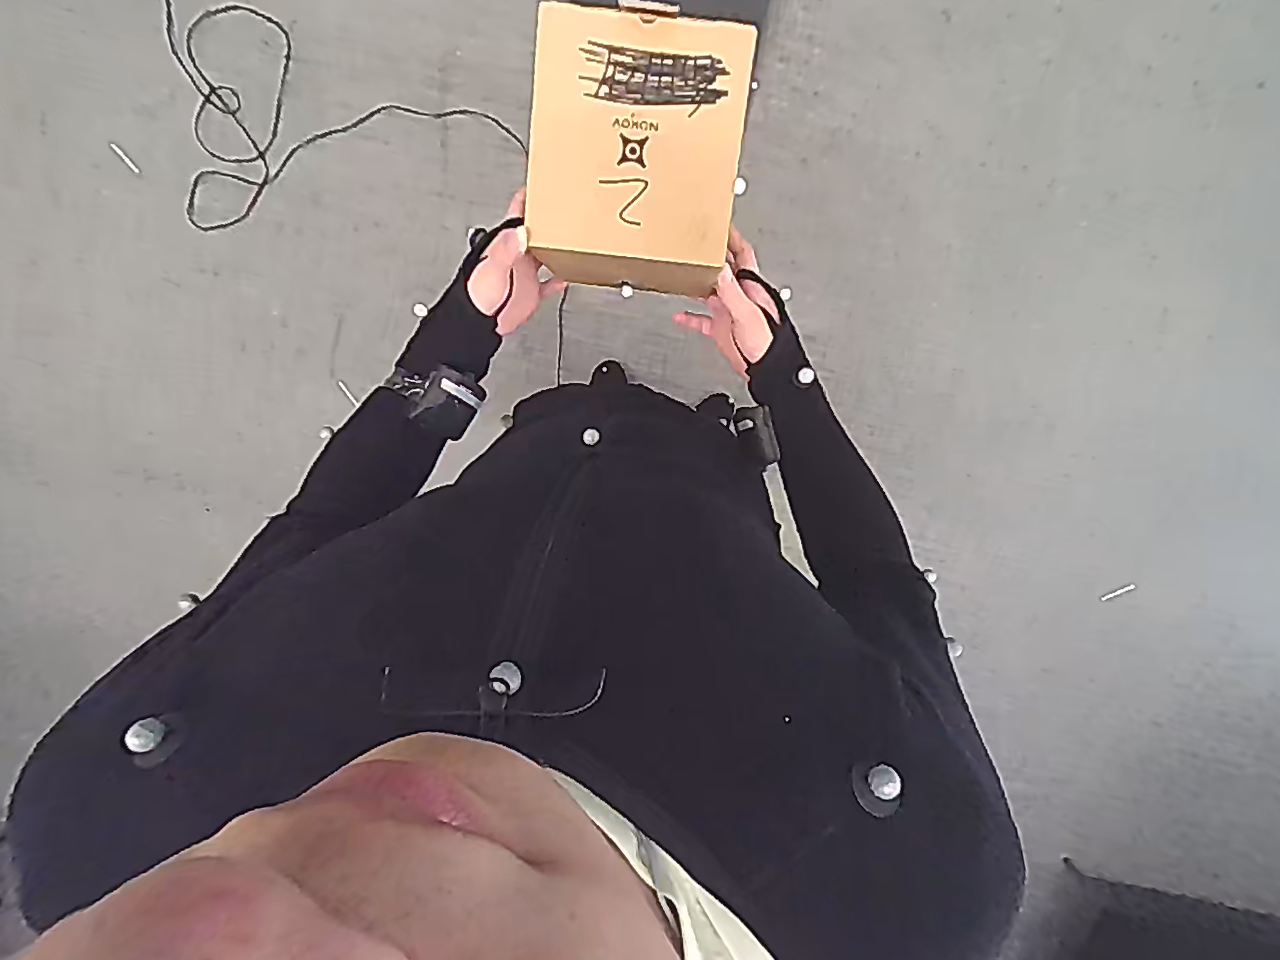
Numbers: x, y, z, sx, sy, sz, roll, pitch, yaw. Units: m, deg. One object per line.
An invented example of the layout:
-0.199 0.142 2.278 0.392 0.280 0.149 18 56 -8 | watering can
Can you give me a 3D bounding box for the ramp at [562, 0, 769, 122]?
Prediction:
0.116 -1.425 1.217 0.509 0.206 0.991 9 103 -1 | ramp
